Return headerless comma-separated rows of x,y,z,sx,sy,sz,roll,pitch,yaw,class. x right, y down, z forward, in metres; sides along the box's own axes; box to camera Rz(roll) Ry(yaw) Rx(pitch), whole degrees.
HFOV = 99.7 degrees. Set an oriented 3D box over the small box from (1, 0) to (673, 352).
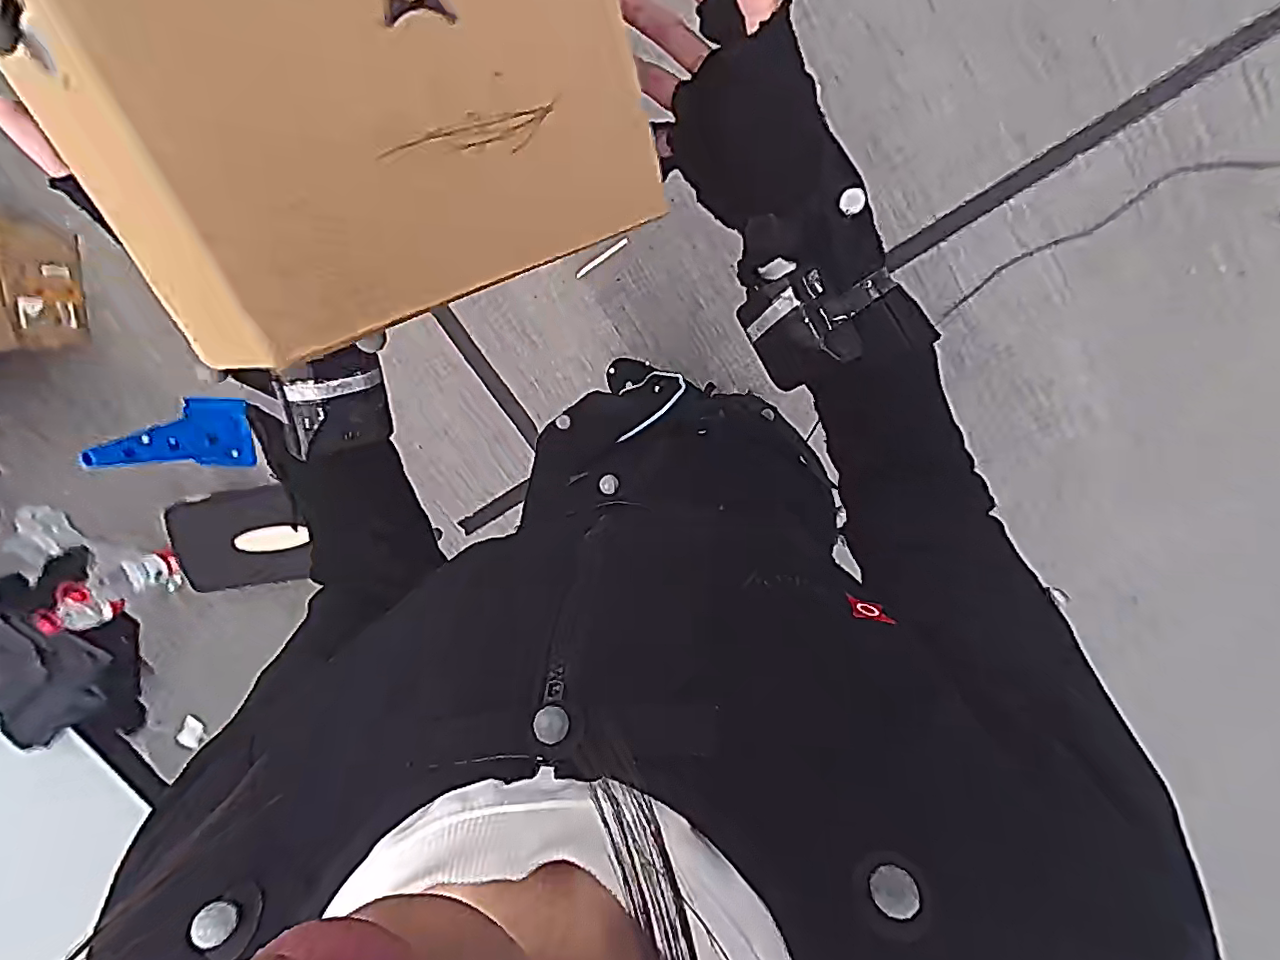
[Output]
-0.118,-0.163,0.220,0.176,0.168,0.179,12,129,44,small box
